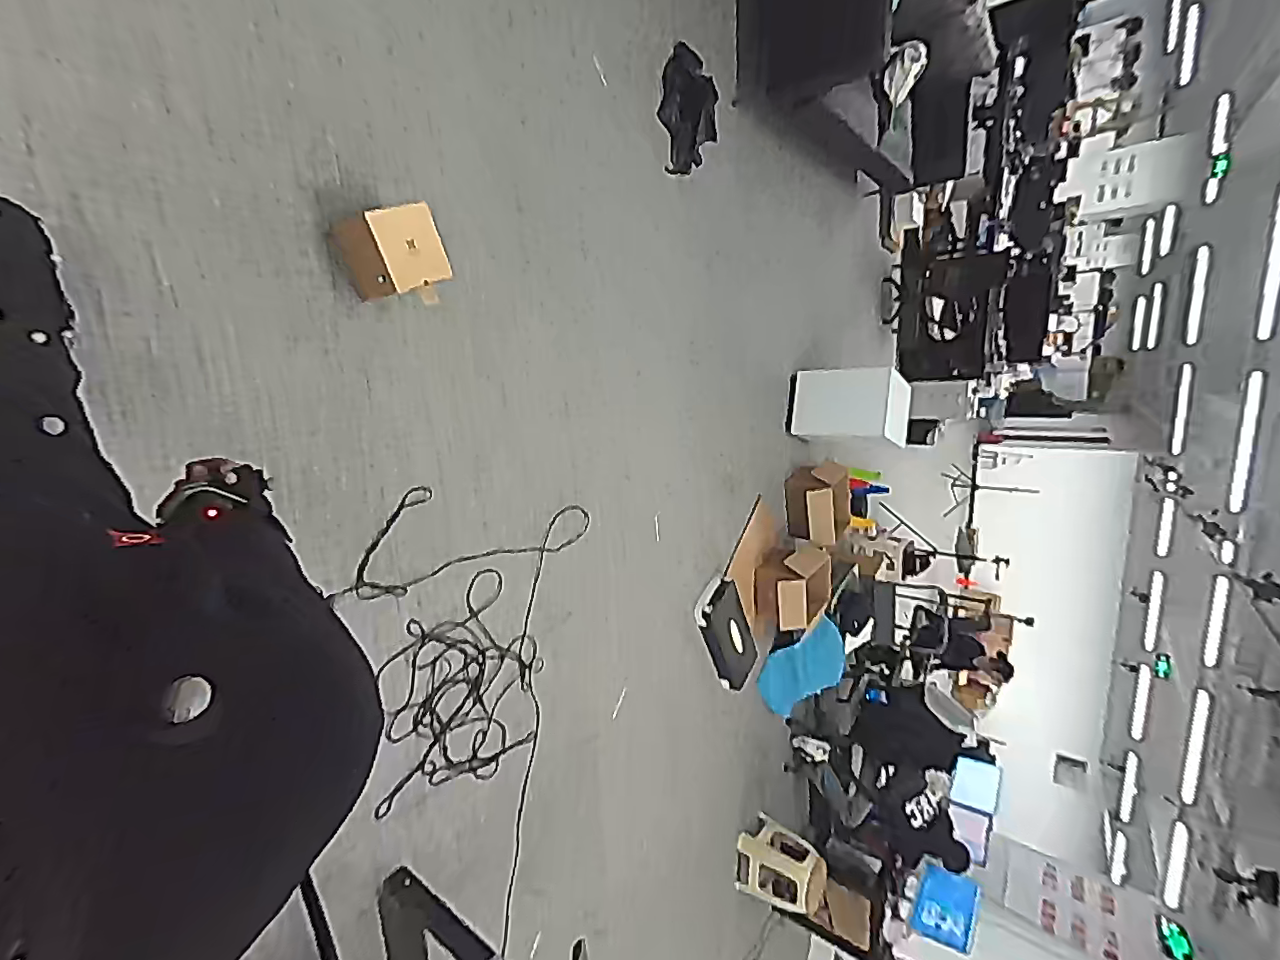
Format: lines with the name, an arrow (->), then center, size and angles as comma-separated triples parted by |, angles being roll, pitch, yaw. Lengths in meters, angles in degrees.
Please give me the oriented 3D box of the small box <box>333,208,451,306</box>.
small box -> -0.602, -0.537, 1.309 | 0.168, 0.176, 0.179 | -42, 127, -42
